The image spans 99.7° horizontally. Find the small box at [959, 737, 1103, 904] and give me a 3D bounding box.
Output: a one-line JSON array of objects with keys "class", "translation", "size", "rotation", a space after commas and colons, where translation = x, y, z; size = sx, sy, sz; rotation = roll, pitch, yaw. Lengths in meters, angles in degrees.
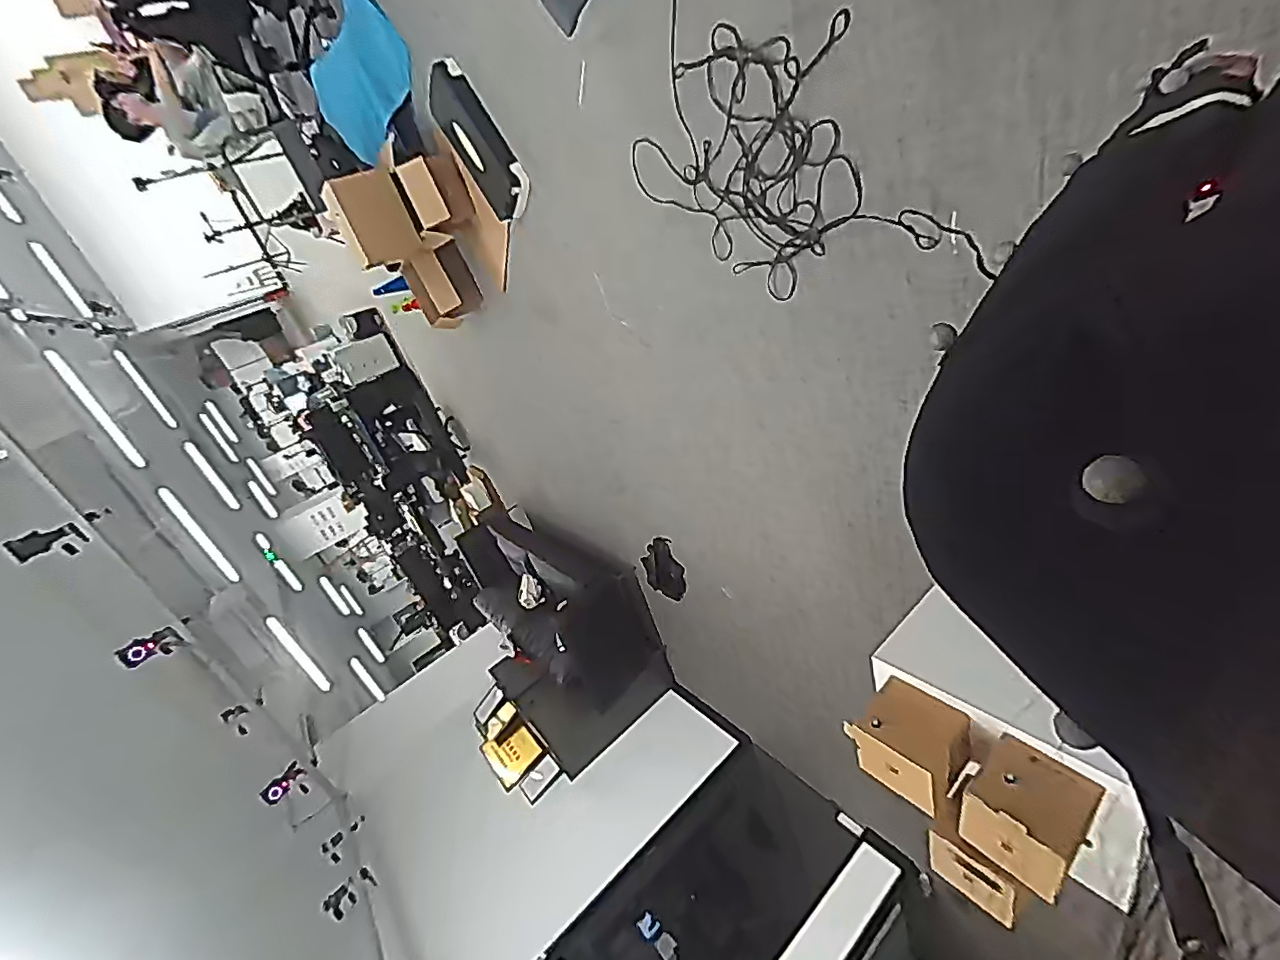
[{"class": "small box", "translation": [0.733, 0.630, 1.020], "size": [0.168, 0.176, 0.179], "rotation": [26, 142, 49]}]
